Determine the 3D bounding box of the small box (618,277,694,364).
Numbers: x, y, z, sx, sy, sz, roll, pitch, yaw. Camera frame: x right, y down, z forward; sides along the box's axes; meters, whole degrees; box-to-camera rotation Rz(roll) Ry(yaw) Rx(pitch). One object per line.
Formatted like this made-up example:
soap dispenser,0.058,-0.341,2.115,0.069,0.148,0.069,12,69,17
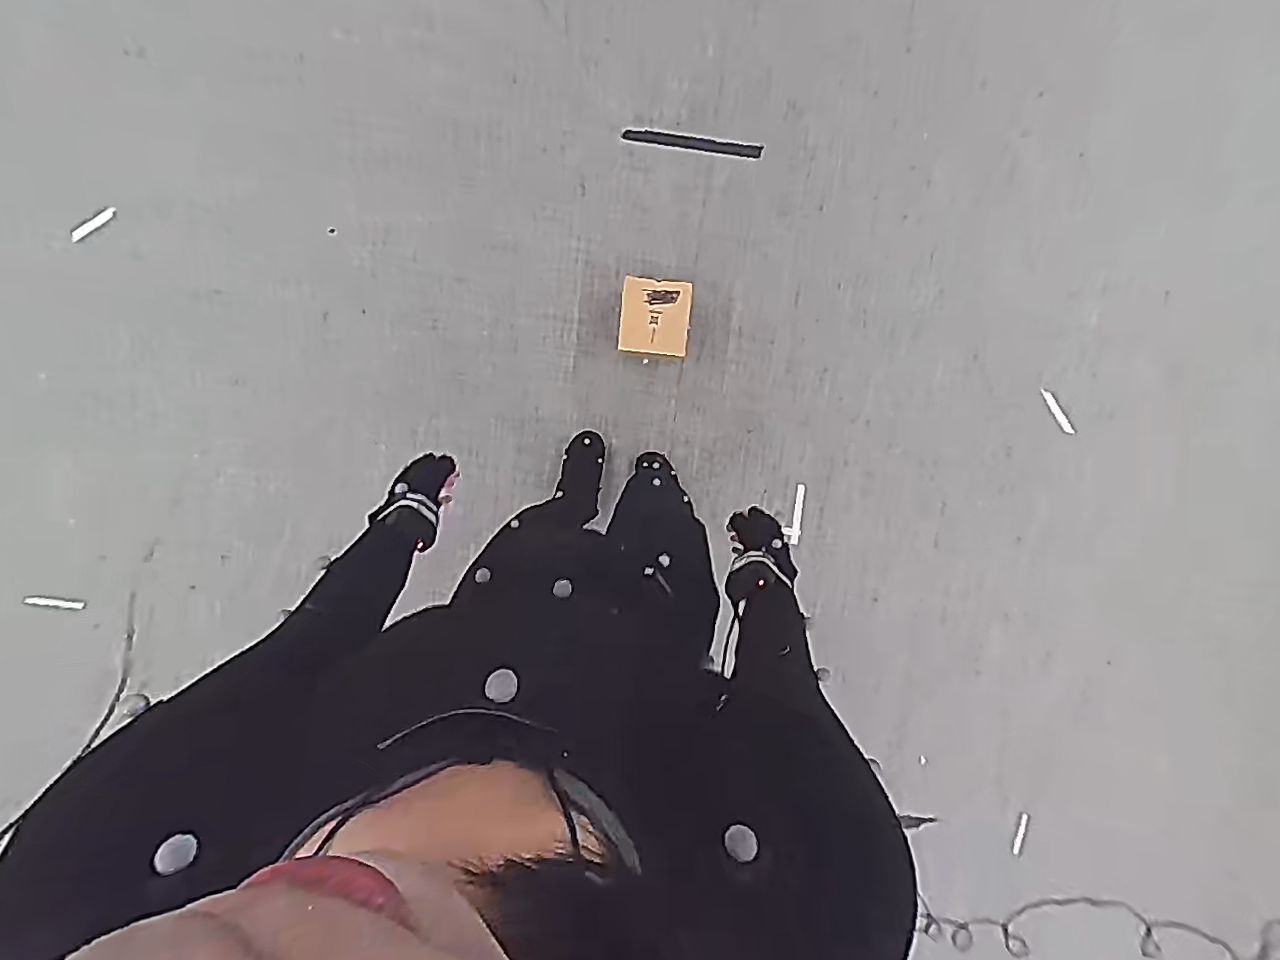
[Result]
small box,0.034,-0.396,1.366,0.168,0.176,0.179,6,98,-3
